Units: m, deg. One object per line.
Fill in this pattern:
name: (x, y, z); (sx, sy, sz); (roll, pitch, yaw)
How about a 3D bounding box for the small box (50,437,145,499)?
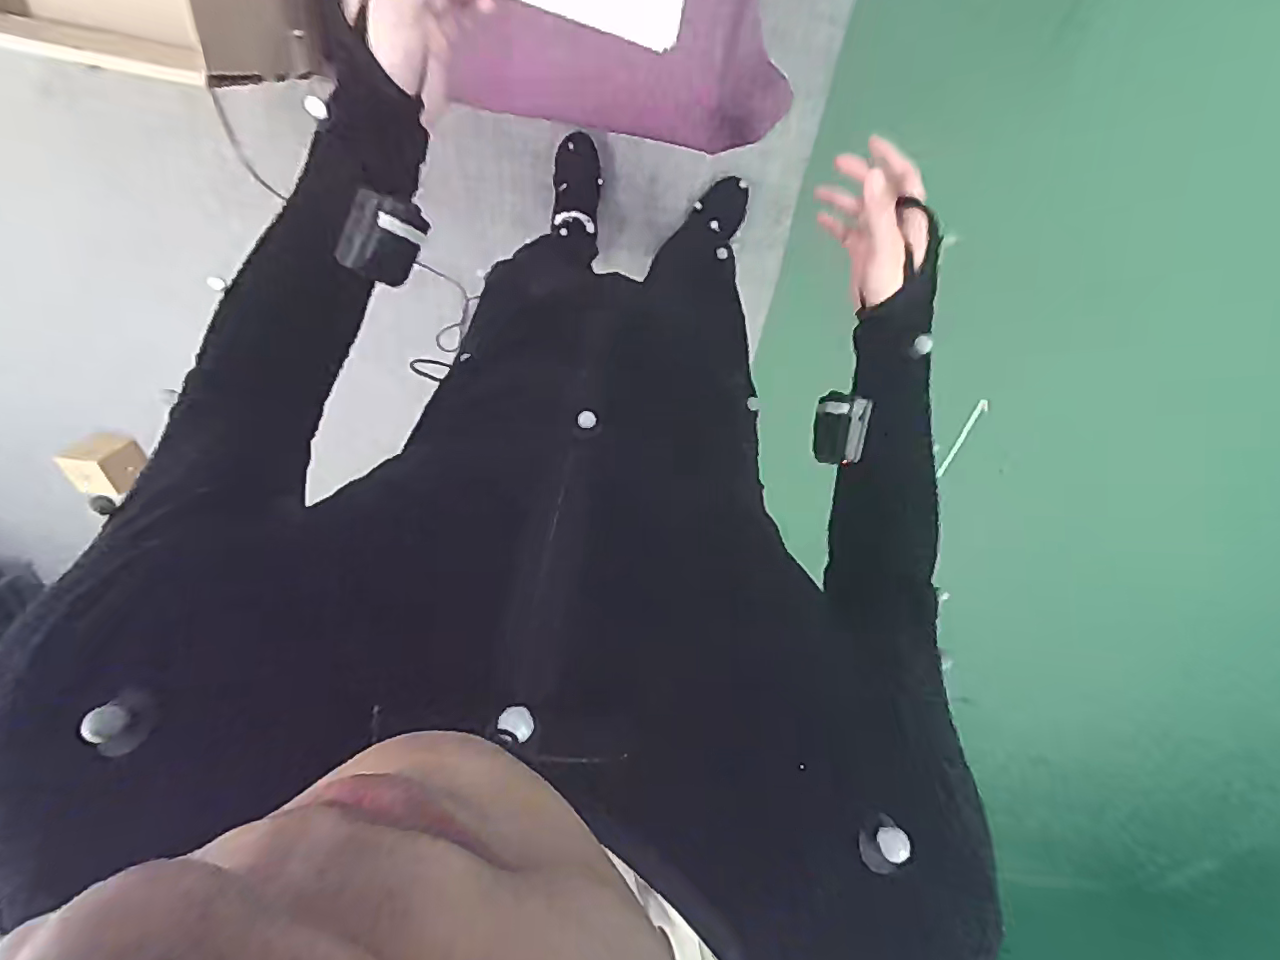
small box: (-2.082, -0.049, 2.092); (0.179, 0.176, 0.168); (8, 127, 4)
